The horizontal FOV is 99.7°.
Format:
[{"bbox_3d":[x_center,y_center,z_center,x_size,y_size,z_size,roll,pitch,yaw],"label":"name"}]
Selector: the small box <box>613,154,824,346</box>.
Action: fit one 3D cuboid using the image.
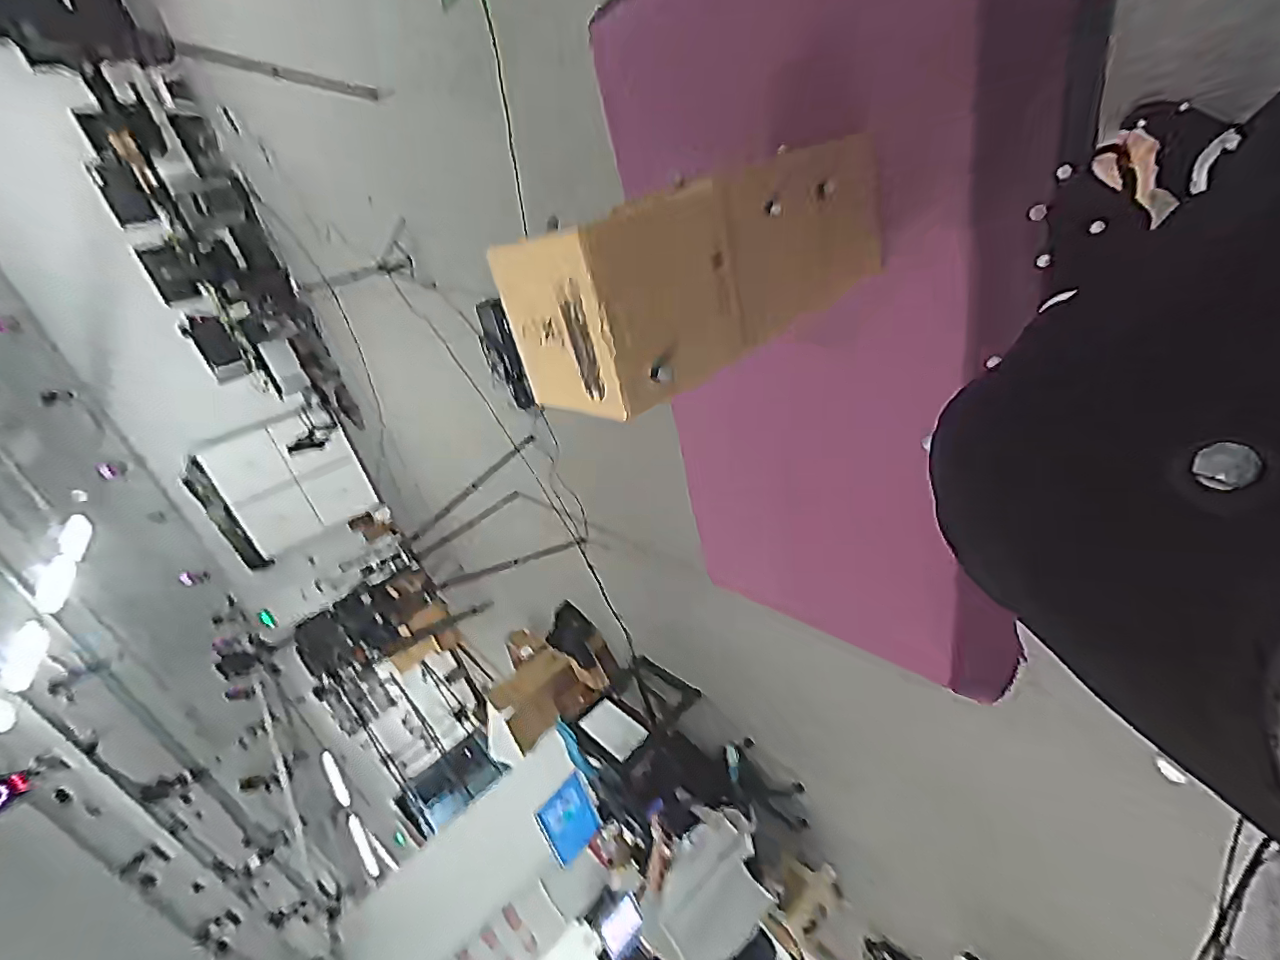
[{"bbox_3d":[0.099,-0.272,0.645,0.168,0.176,0.179,17,130,48],"label":"small box"}]
